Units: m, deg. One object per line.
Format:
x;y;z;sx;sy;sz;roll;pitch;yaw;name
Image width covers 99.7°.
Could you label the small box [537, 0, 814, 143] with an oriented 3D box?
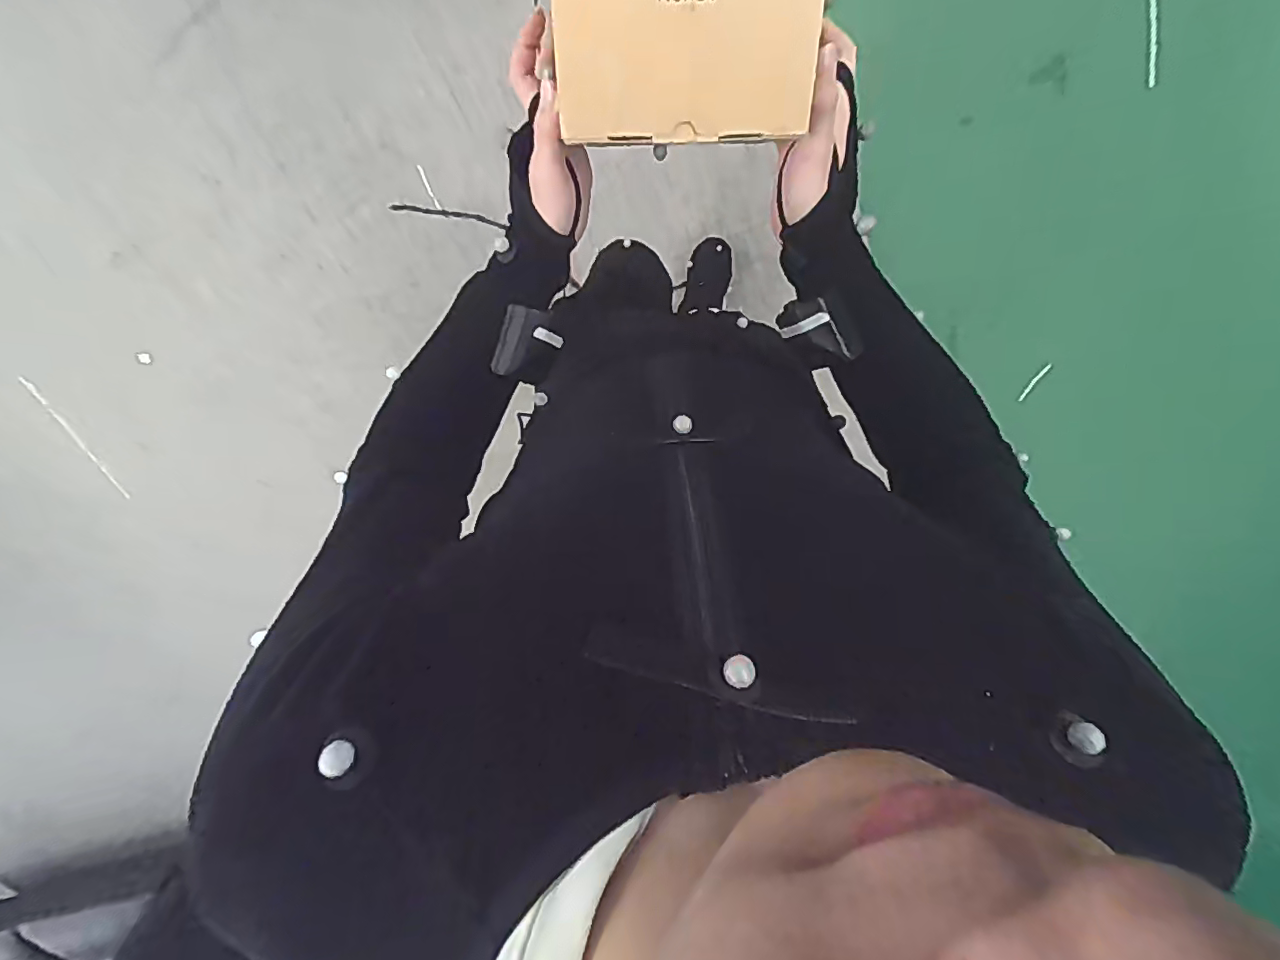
0.019;-0.339;0.374;0.168;0.176;0.179;-1;122;1;small box
